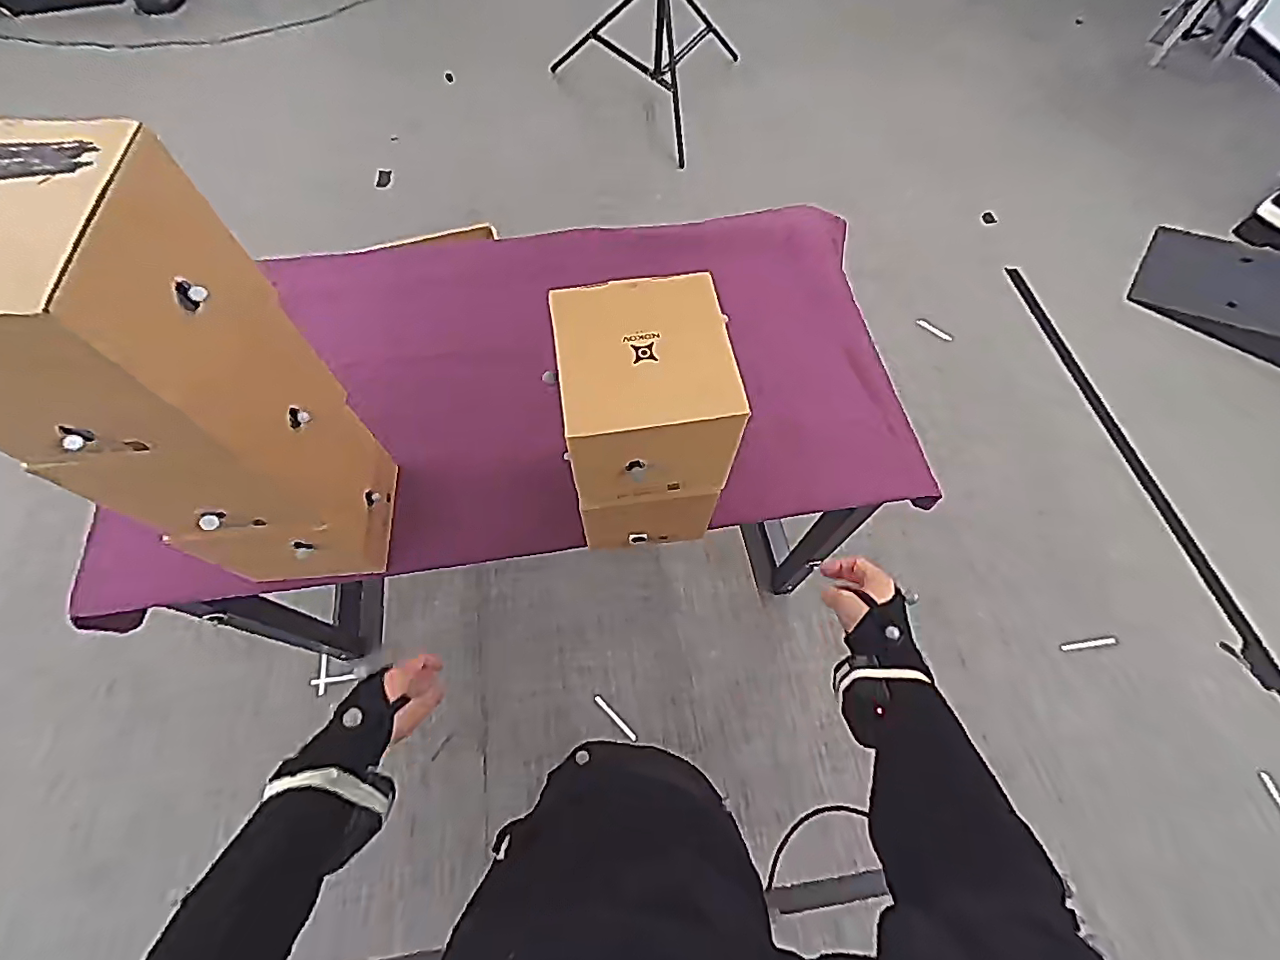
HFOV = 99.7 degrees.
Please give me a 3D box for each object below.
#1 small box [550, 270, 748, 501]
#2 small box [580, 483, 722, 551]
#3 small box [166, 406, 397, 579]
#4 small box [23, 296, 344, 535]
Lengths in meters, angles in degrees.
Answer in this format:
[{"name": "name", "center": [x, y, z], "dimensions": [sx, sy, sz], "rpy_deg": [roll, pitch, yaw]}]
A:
[{"name": "small box", "center": [0.004, -0.089, 0.576], "dimensions": [0.168, 0.176, 0.179], "rpy_deg": [-9, 64, -4]}, {"name": "small box", "center": [0.002, -0.021, 0.724], "dimensions": [0.168, 0.176, 0.179], "rpy_deg": [-8, 66, -4]}, {"name": "small box", "center": [-0.432, 0.022, 0.691], "dimensions": [0.179, 0.176, 0.168], "rpy_deg": [-4, 64, -3]}, {"name": "small box", "center": [-0.426, -0.058, 0.547], "dimensions": [0.168, 0.176, 0.179], "rpy_deg": [-5, 65, -4]}]
